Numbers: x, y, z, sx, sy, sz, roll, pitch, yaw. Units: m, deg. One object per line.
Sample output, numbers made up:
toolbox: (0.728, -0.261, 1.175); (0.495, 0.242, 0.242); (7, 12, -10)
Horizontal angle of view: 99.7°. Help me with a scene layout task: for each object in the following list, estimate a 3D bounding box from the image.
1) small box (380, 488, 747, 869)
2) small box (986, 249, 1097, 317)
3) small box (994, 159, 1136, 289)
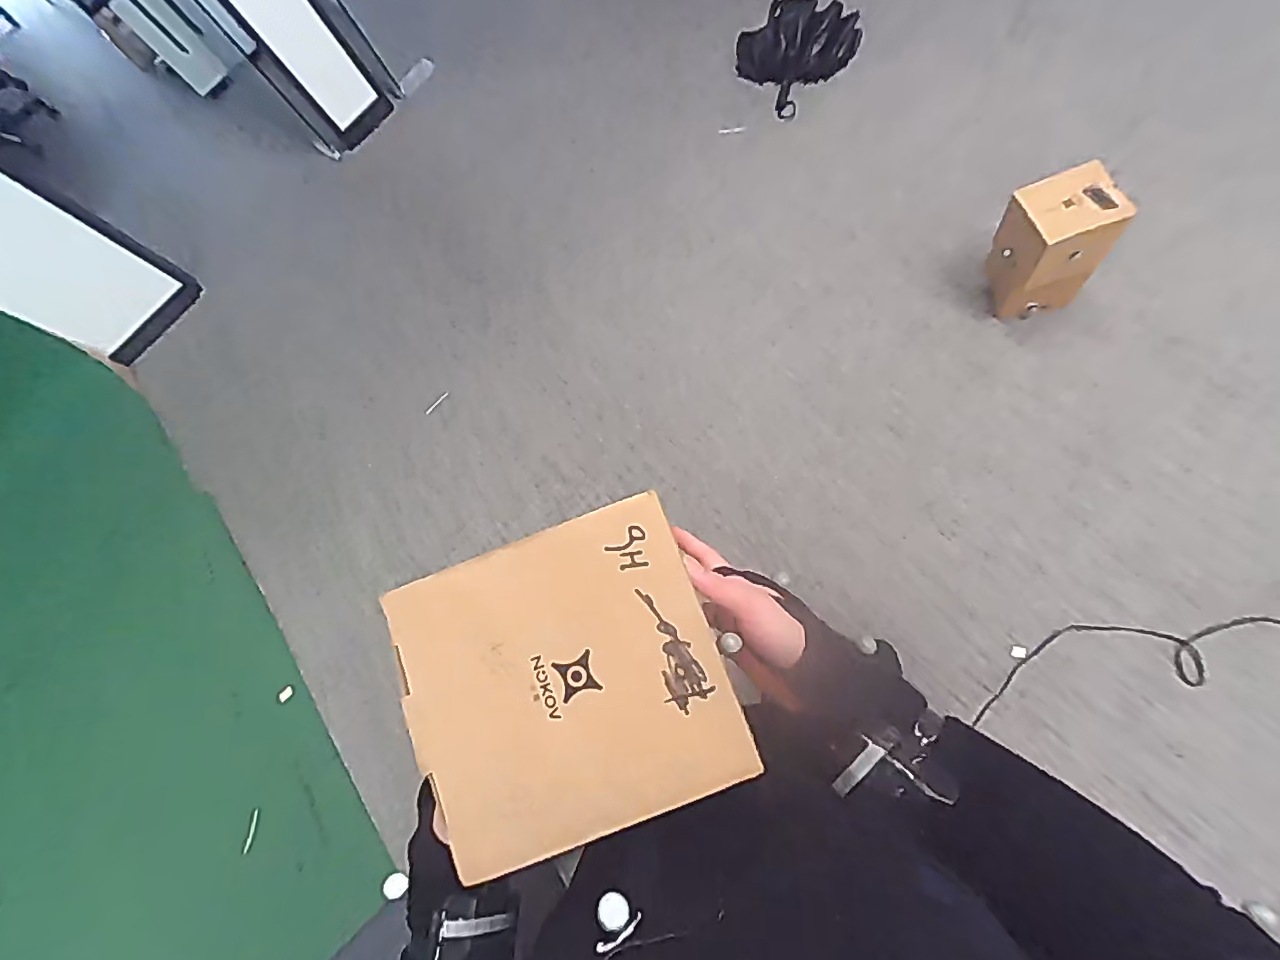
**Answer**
small box: (-0.040, 0.120, 0.381); (0.179, 0.176, 0.168); (-21, 80, 2)
small box: (1.017, -0.550, 1.388); (0.168, 0.176, 0.179); (-6, 72, 16)
small box: (0.955, -0.576, 1.236); (0.179, 0.176, 0.168); (-18, 67, 12)
